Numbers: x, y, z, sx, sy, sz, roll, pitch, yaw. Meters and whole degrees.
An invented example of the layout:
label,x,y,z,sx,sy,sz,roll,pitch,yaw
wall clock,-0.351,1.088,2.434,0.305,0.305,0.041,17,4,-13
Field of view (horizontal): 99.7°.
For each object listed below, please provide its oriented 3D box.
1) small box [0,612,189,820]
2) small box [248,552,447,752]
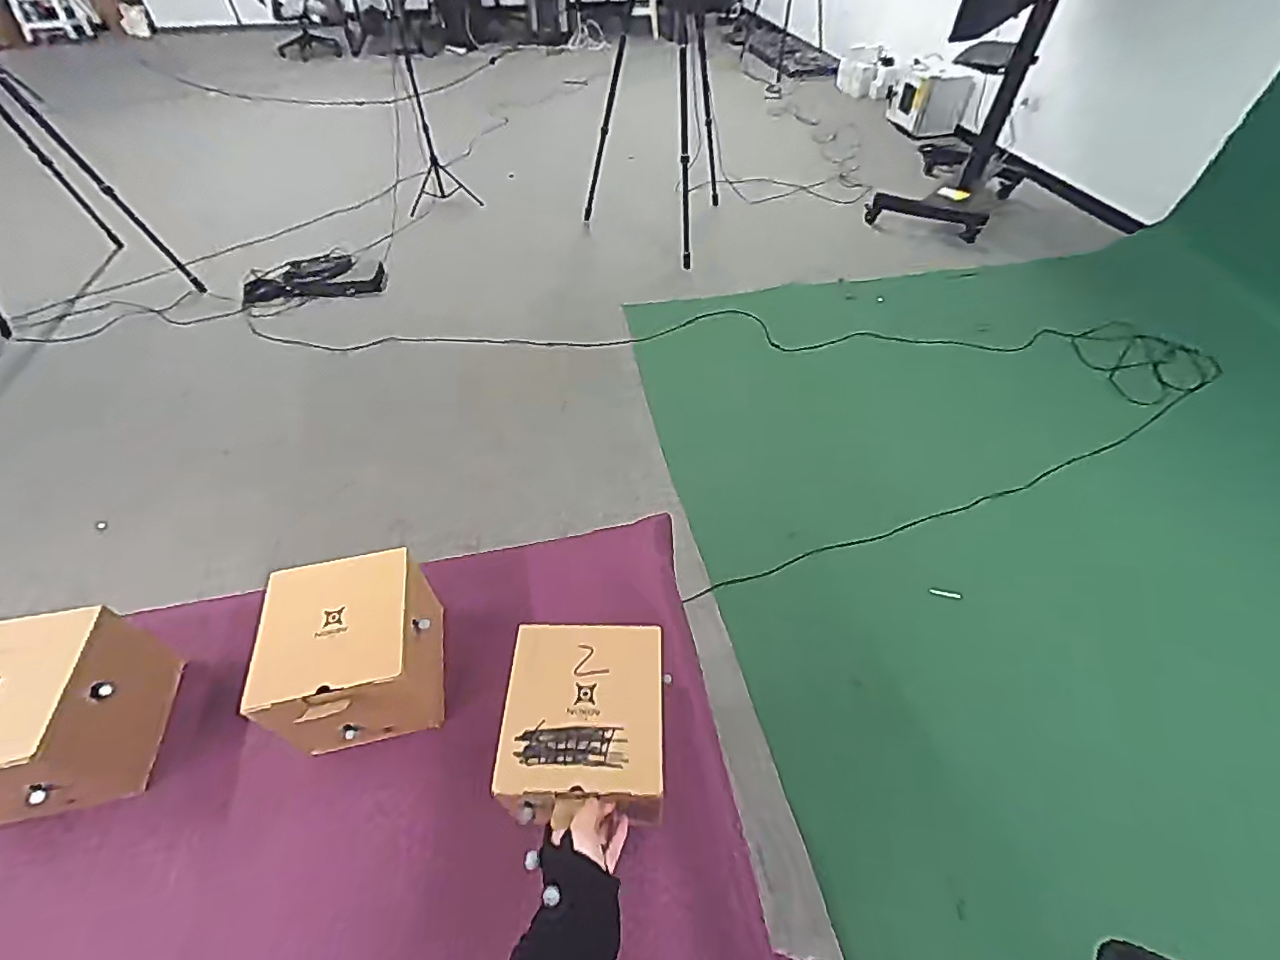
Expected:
label,x,y,z,sx,sy,sz,roll,pitch,yaw
small box,-0.693,0.286,0.644,0.168,0.176,0.179,-9,50,-8
small box,-0.354,0.221,0.695,0.168,0.176,0.179,-11,51,-8
